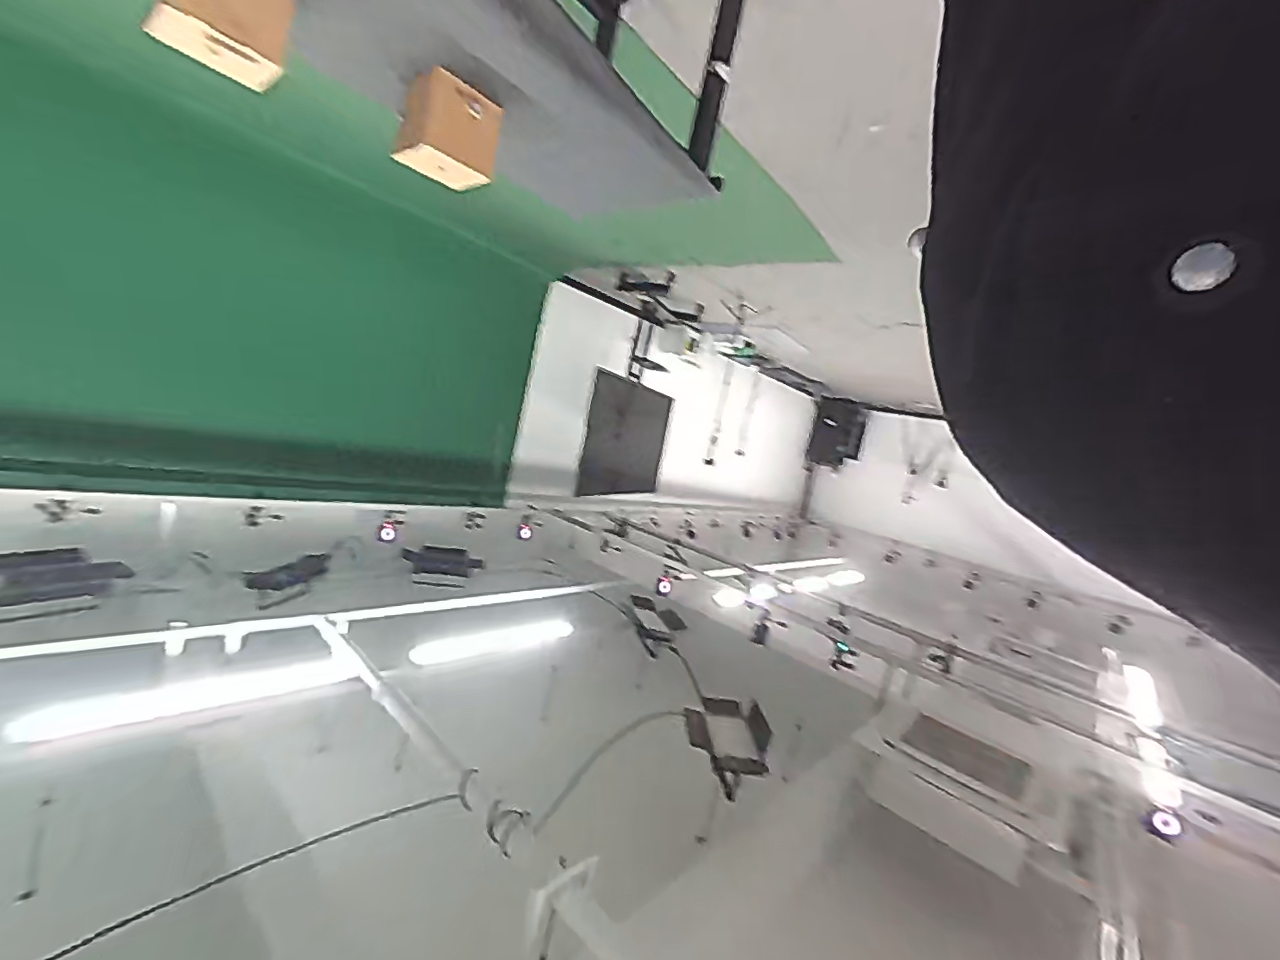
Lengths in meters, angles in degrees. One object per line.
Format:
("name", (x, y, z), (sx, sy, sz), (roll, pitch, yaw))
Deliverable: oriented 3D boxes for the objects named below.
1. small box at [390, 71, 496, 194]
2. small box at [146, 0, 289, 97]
("small box", (-0.457, -0.802, 1.264), (0.179, 0.176, 0.168), (16, -172, 42))
("small box", (-0.744, -0.830, 0.957), (0.179, 0.176, 0.168), (17, -172, 39))
